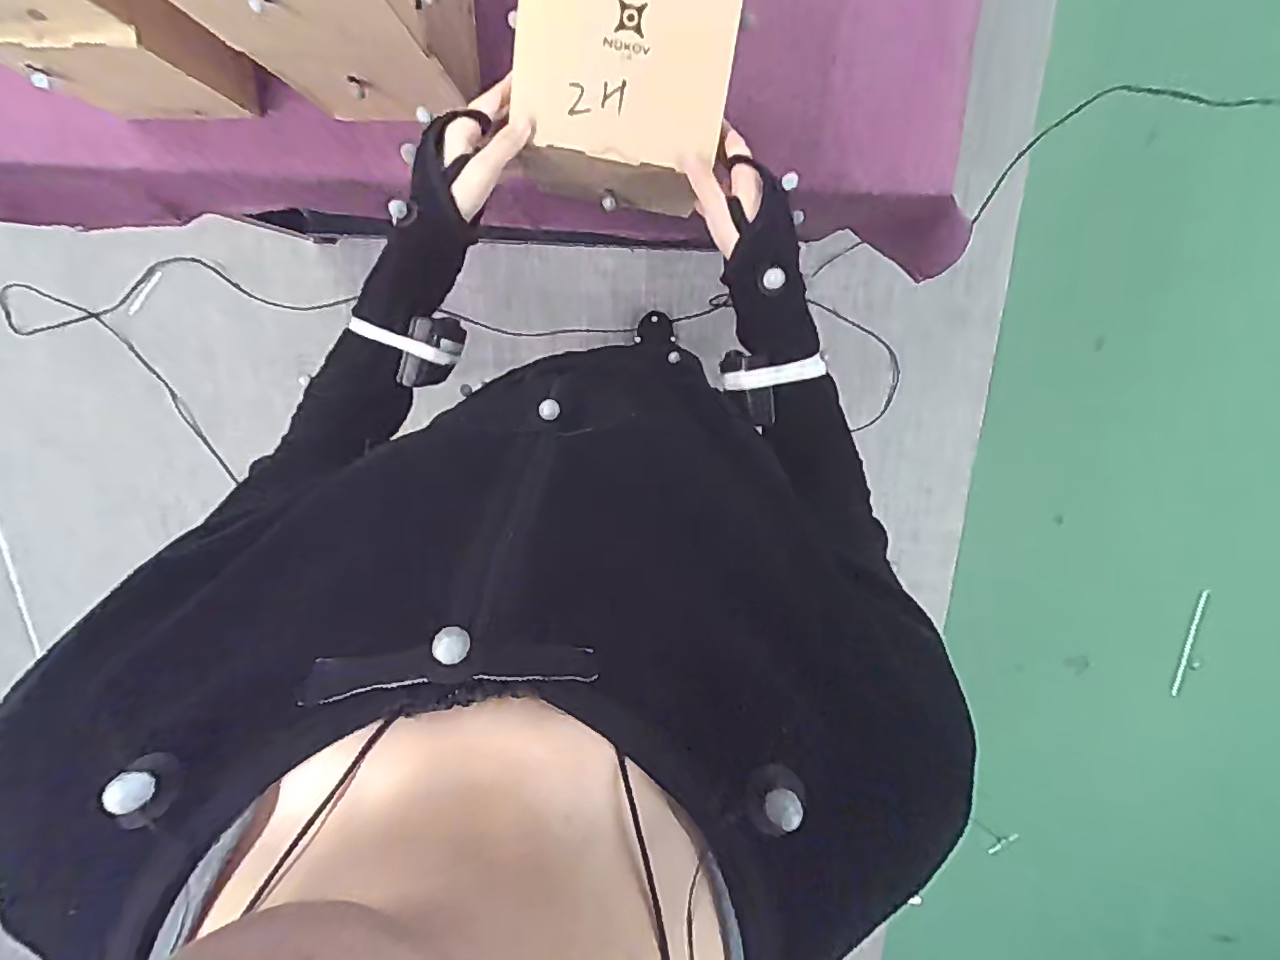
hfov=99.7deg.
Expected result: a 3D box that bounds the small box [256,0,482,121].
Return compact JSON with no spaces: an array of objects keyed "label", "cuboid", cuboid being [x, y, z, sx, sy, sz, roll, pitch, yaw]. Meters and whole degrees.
[{"label":"small box","cuboid":[-0.272,-0.486,0.545,0.179,0.176,0.168,1,104,-1]}]

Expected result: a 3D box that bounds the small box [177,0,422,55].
[{"label":"small box","cuboid":[-0.270,-0.441,0.387,0.179,0.176,0.168,2,104,0]}]

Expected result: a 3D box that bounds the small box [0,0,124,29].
[{"label":"small box","cuboid":[-0.530,-0.459,0.382,0.168,0.176,0.179,-2,103,0]}]

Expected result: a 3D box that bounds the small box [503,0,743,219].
[{"label":"small box","cuboid":[-0.014,-0.353,0.477,0.168,0.176,0.179,9,106,-4]}]
